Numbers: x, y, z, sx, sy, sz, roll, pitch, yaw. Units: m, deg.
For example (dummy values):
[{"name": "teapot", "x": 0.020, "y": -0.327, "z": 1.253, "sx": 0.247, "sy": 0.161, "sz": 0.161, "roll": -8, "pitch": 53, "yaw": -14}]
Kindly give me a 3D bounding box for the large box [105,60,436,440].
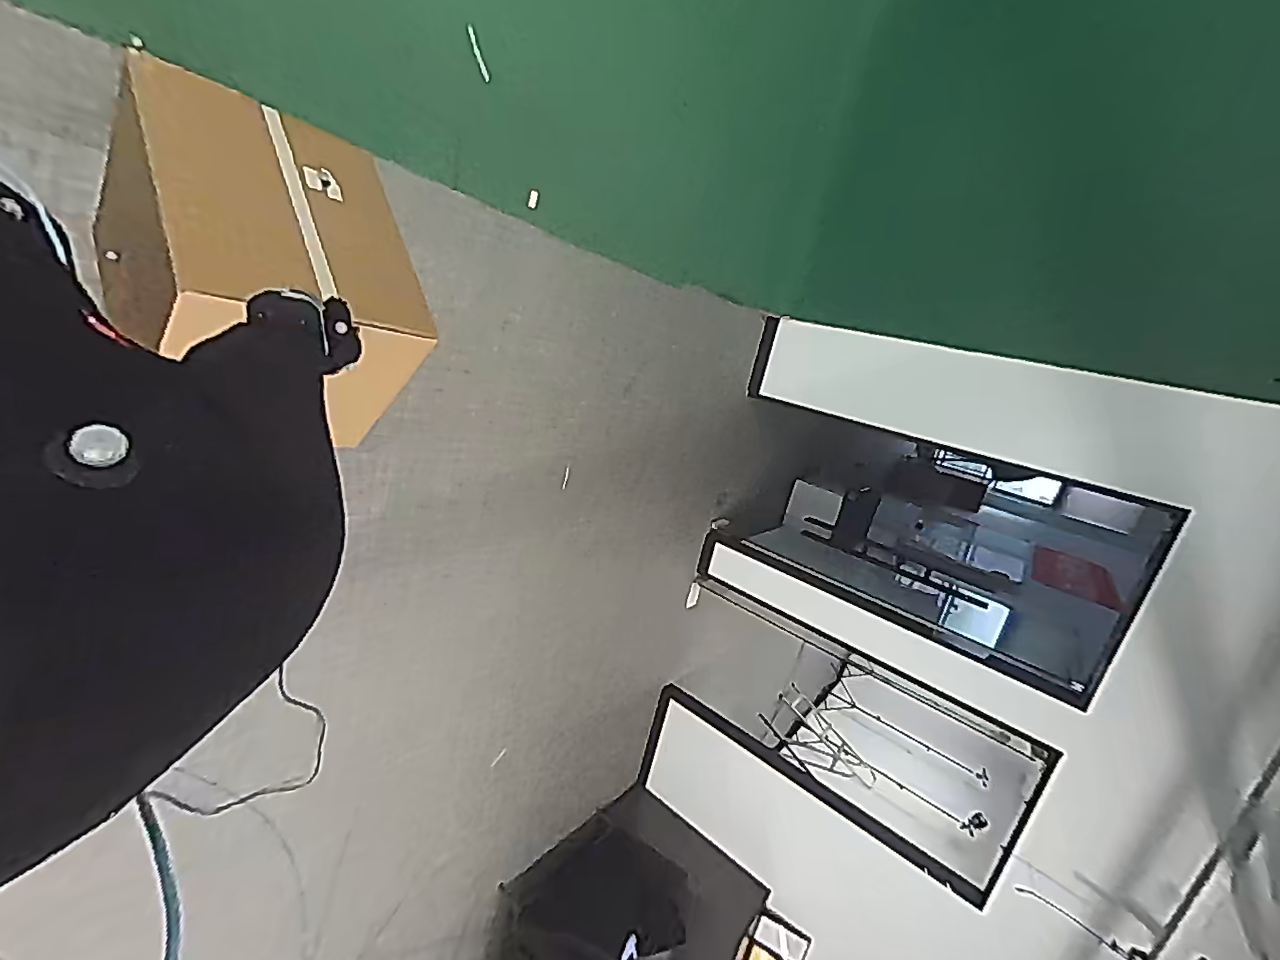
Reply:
[{"name": "large box", "x": -0.587, "y": -0.307, "z": 0.849, "sx": 0.320, "sy": 0.408, "sz": 0.320, "roll": -35, "pitch": 161, "yaw": 33}]
